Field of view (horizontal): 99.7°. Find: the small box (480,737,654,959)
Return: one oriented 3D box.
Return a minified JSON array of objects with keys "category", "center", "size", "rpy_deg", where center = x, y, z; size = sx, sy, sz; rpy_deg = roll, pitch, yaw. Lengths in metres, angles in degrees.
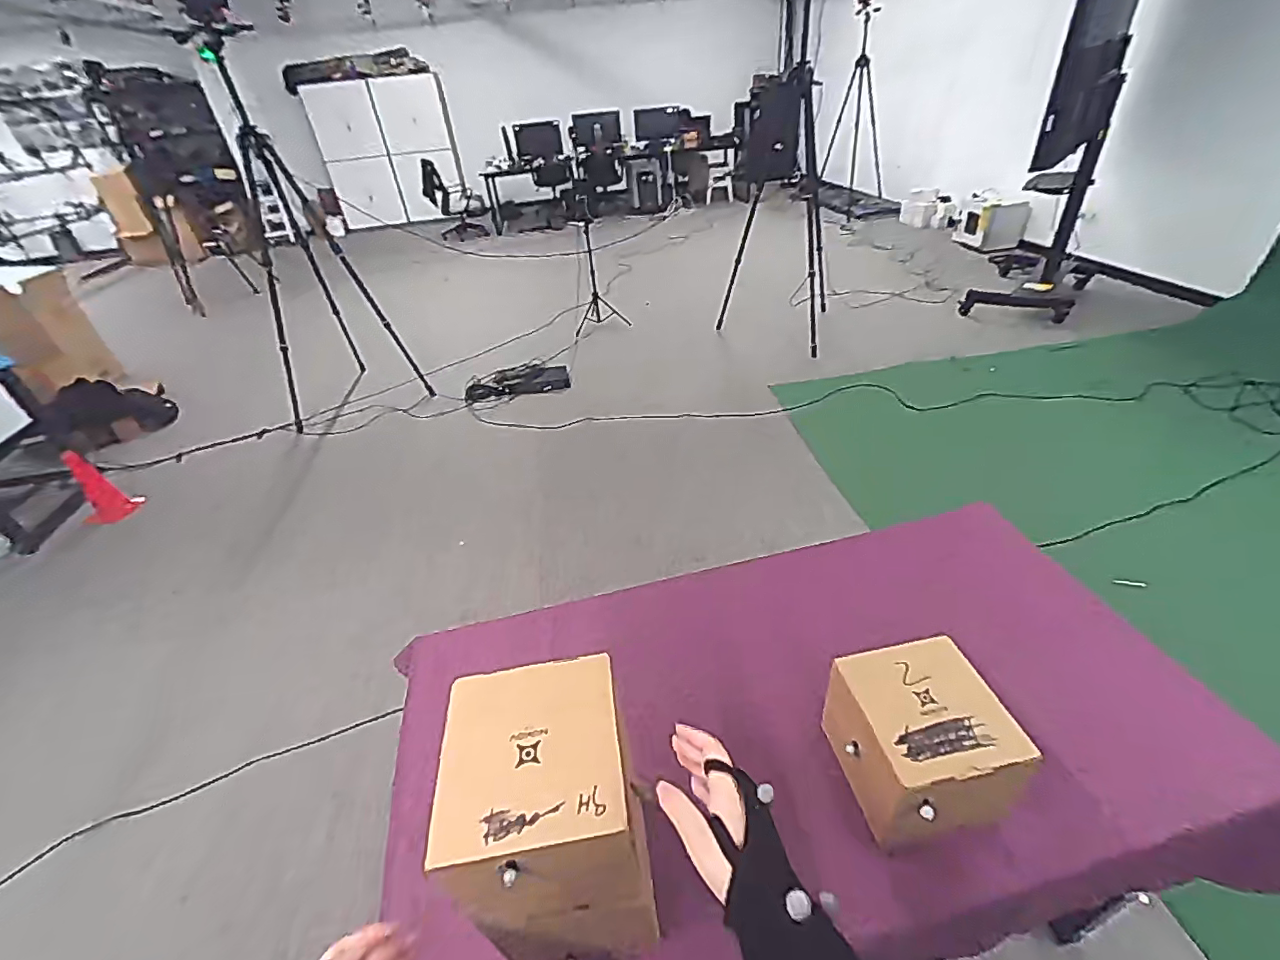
[{"category":"small box","center":[-0.080,0.442,0.646],"size":[0.168,0.176,0.179],"rpy_deg":[-9,37,-3]}]

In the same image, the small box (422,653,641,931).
[{"category":"small box","center":[-0.096,0.310,0.549],"size":[0.168,0.176,0.179],"rpy_deg":[-10,35,-2]}]
